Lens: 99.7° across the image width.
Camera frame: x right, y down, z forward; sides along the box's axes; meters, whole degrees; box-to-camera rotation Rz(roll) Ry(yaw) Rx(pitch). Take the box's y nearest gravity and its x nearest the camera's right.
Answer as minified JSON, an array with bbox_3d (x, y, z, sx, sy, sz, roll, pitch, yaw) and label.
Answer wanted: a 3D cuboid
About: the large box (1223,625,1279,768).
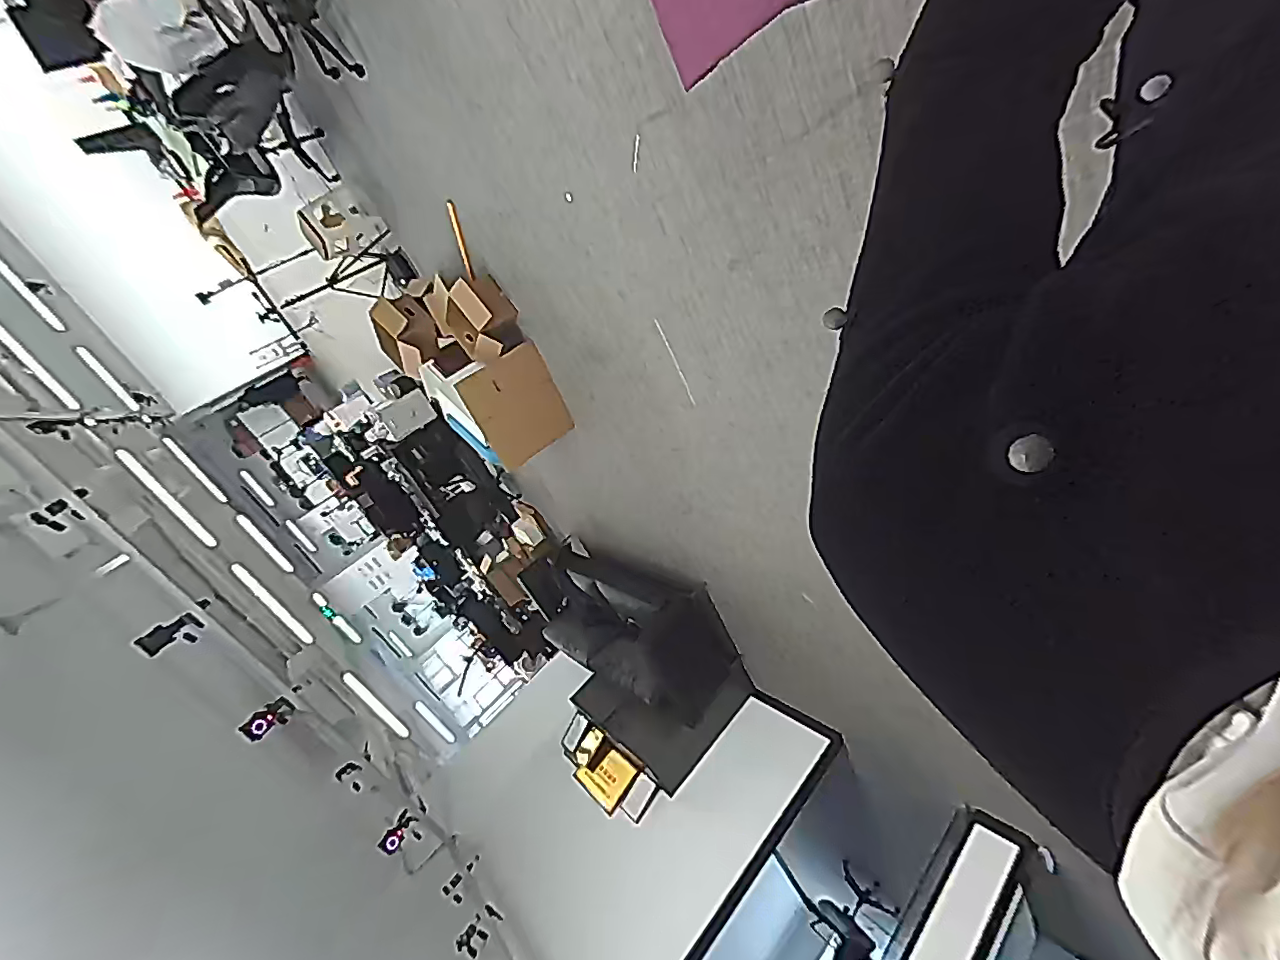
[{"bbox_3d":[1.758,0.543,1.273,0.320,0.320,0.408,46,153,5],"label":"large box"}]
